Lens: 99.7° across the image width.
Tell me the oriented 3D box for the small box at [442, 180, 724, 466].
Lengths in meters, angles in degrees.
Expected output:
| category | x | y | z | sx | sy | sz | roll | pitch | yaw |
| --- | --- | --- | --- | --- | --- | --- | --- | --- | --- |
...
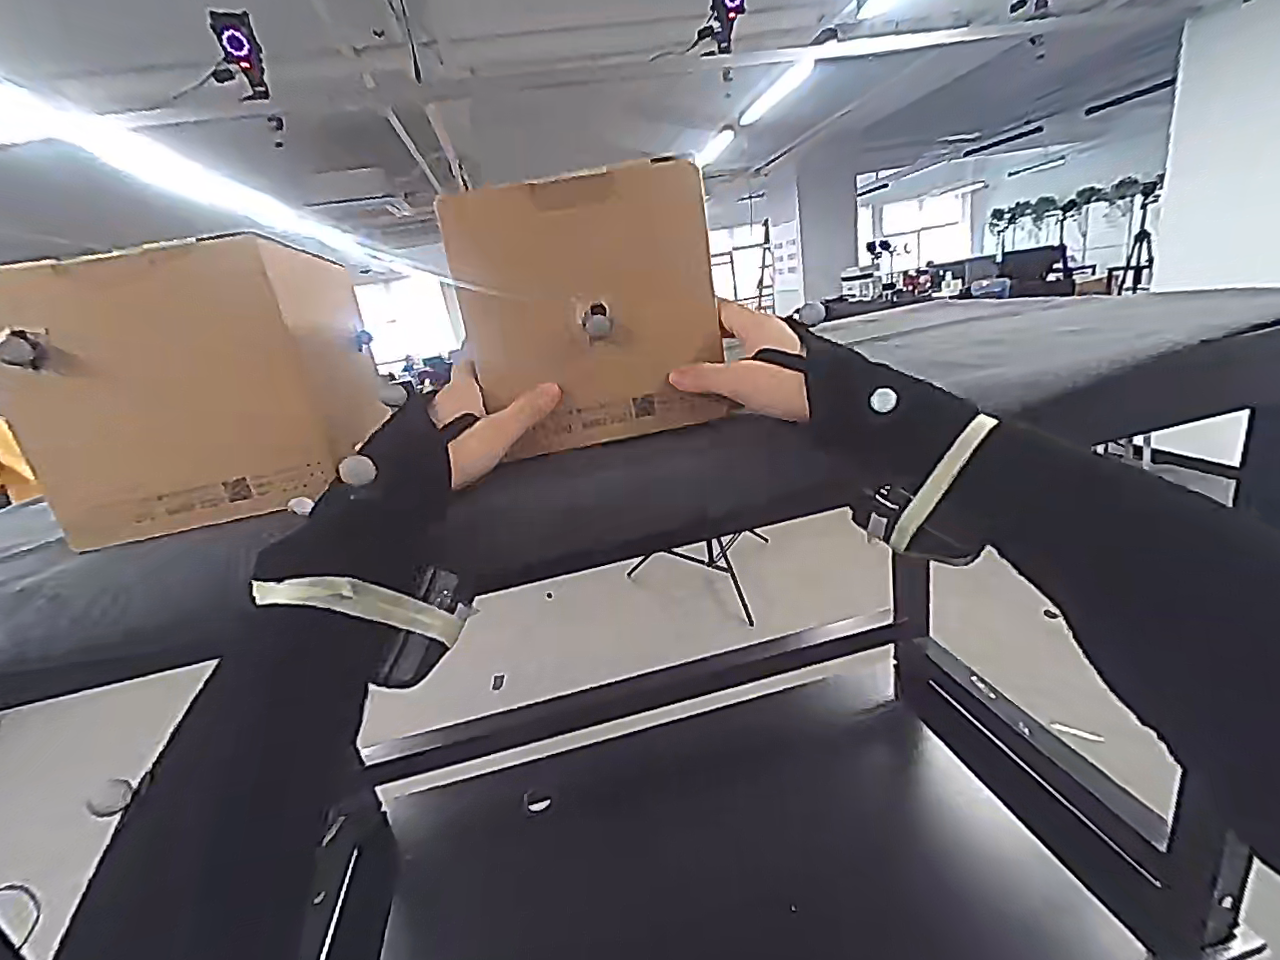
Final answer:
| category | x | y | z | sx | sy | sz | roll | pitch | yaw |
| --- | --- | --- | --- | --- | --- | --- | --- | --- | --- |
| small box | -0.040 | -0.117 | 0.434 | 0.168 | 0.176 | 0.179 | -12 | 17 | -7 |
